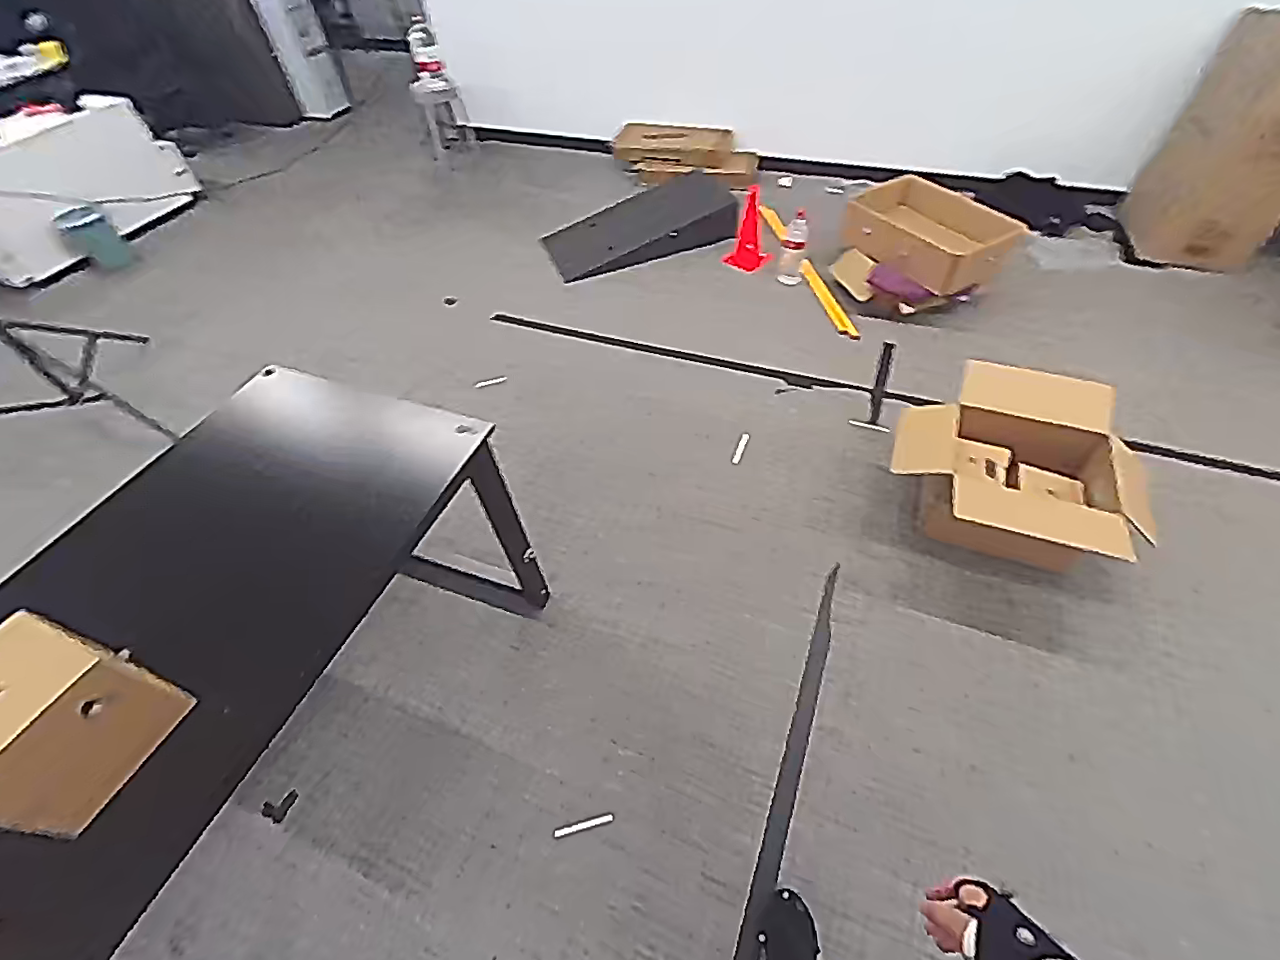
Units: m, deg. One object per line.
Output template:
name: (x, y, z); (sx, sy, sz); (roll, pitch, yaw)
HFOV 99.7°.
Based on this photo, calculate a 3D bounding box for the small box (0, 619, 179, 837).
small box: (-0.736, 0.309, 0.674); (0.168, 0.176, 0.179); (16, 54, 17)
